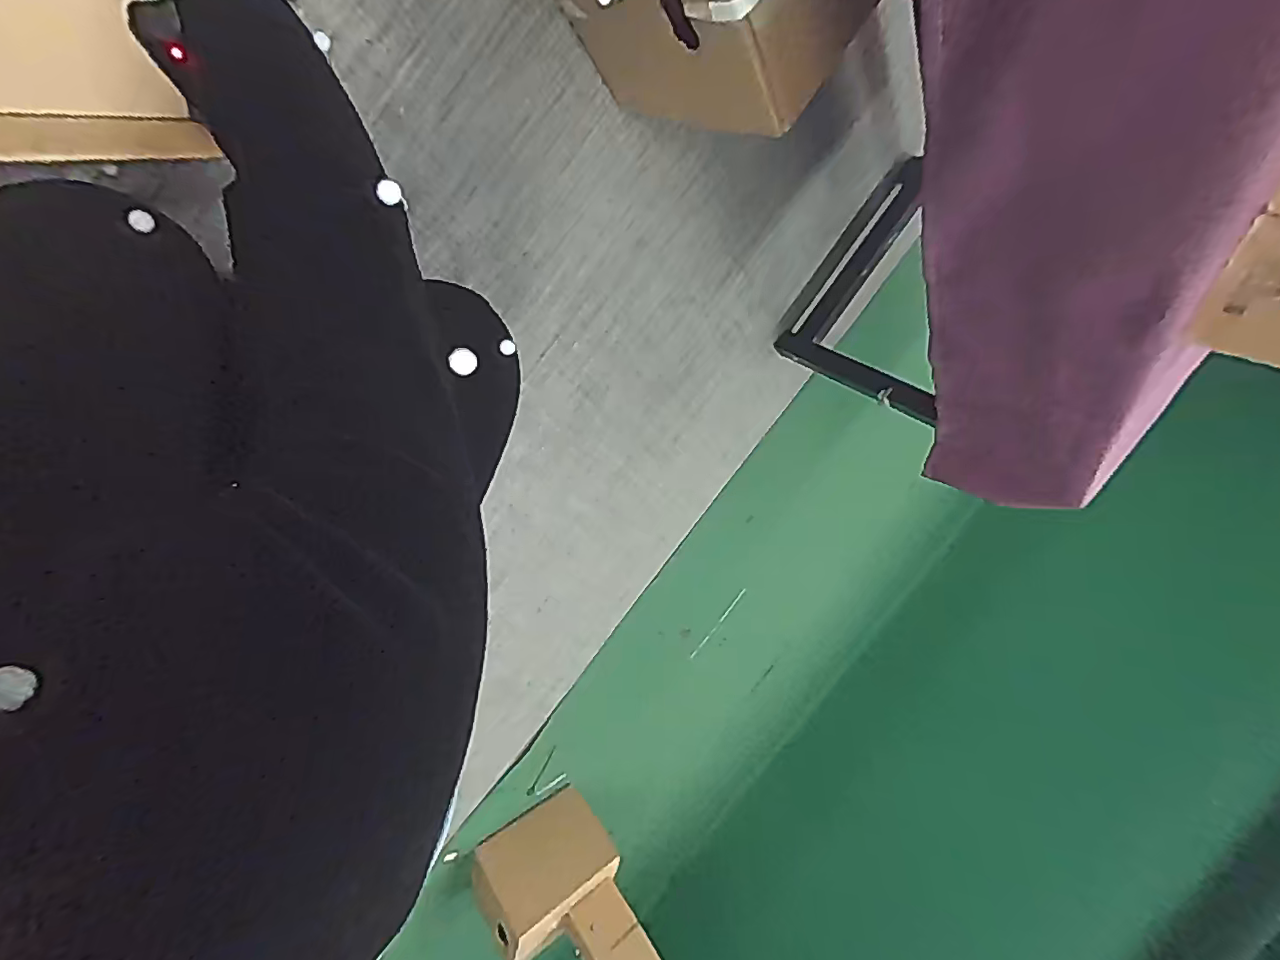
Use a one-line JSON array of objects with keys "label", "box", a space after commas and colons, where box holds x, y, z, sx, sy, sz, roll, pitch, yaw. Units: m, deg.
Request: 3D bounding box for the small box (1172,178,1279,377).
[{"label": "small box", "box": [0.622, -0.196, 0.454, 0.179, 0.176, 0.168, -48, 144, -1]}]
